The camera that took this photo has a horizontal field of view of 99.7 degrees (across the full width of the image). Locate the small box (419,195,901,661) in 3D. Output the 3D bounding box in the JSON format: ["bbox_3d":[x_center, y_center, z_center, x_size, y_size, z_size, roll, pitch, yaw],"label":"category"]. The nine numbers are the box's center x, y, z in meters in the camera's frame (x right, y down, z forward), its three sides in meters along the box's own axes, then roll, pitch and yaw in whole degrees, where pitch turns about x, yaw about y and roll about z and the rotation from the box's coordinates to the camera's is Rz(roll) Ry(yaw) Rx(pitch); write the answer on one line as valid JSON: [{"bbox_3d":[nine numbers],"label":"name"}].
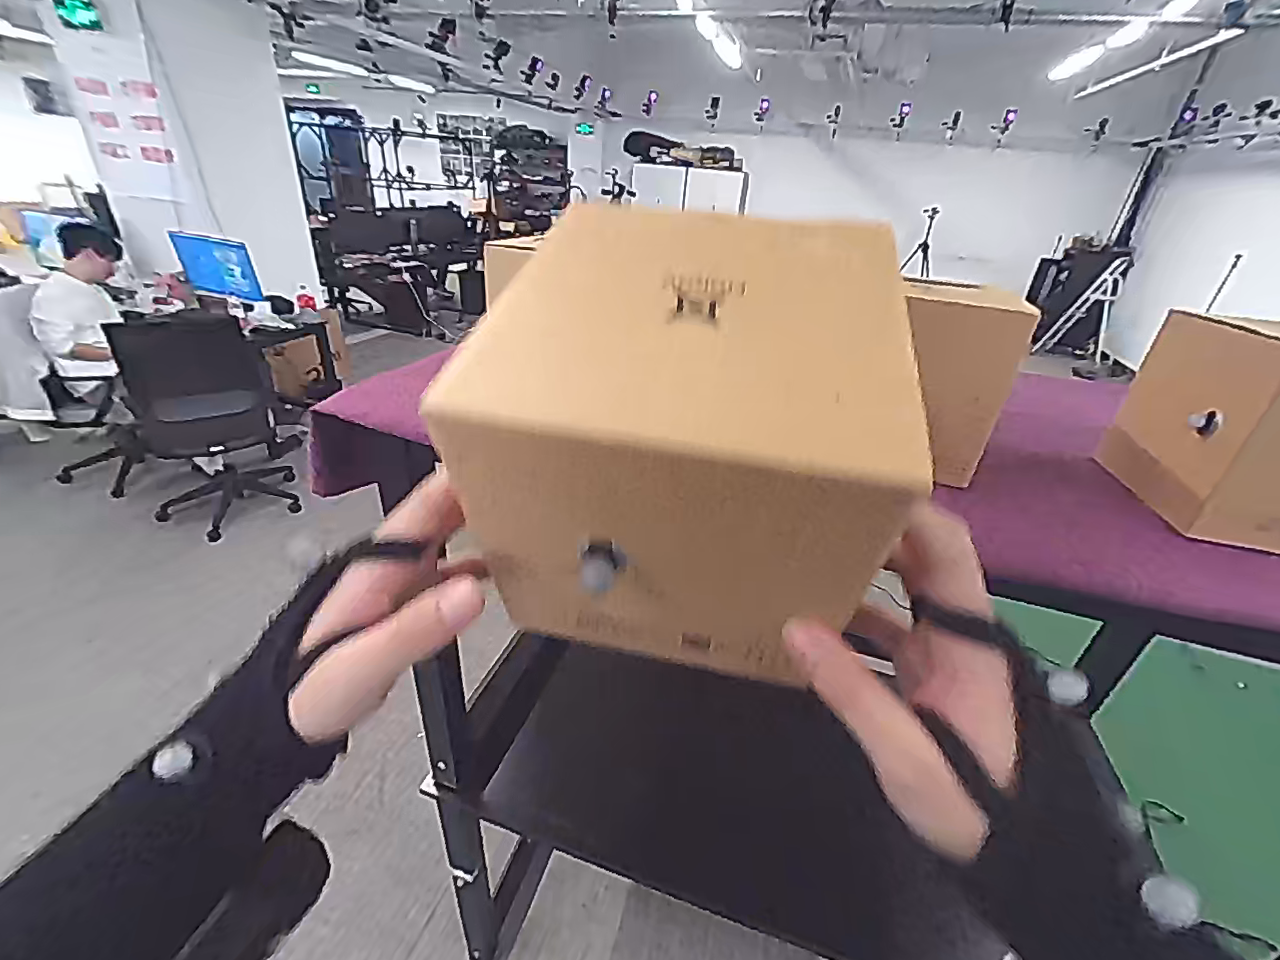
[{"bbox_3d":[0.023,-0.028,0.287,0.168,0.176,0.179,9,49,10],"label":"small box"}]

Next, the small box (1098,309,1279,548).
[{"bbox_3d":[0.567,-0.045,0.480,0.168,0.176,0.179,11,28,12],"label":"small box"}]
